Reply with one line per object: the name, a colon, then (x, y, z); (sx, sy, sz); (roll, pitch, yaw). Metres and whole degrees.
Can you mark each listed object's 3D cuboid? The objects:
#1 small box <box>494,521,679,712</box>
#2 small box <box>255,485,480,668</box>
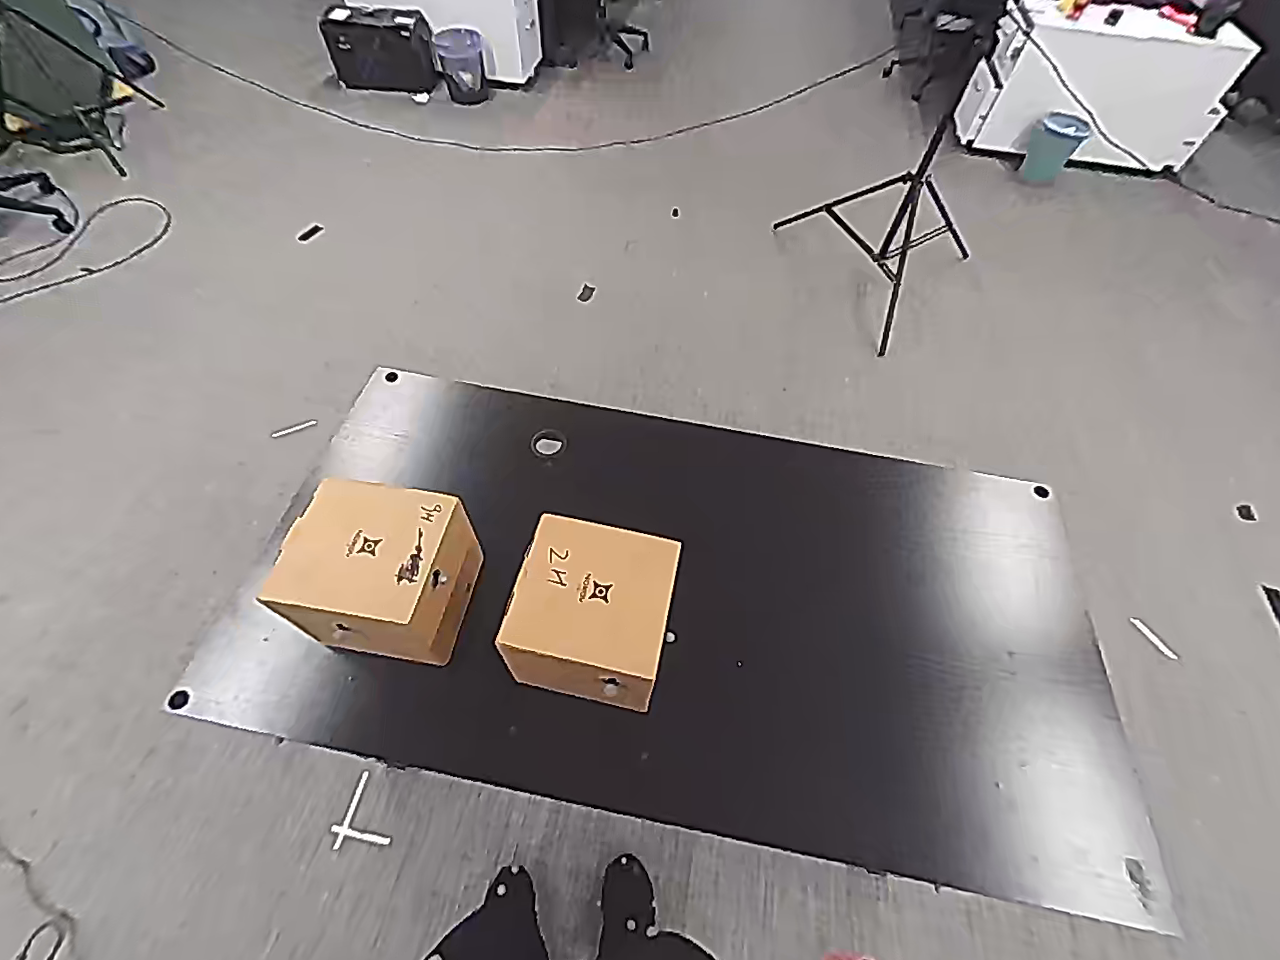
small box: (-0.058, 0.176, 0.675); (0.179, 0.176, 0.168); (11, 56, 5)
small box: (-0.327, 0.129, 0.693); (0.179, 0.176, 0.168); (8, 56, 3)
